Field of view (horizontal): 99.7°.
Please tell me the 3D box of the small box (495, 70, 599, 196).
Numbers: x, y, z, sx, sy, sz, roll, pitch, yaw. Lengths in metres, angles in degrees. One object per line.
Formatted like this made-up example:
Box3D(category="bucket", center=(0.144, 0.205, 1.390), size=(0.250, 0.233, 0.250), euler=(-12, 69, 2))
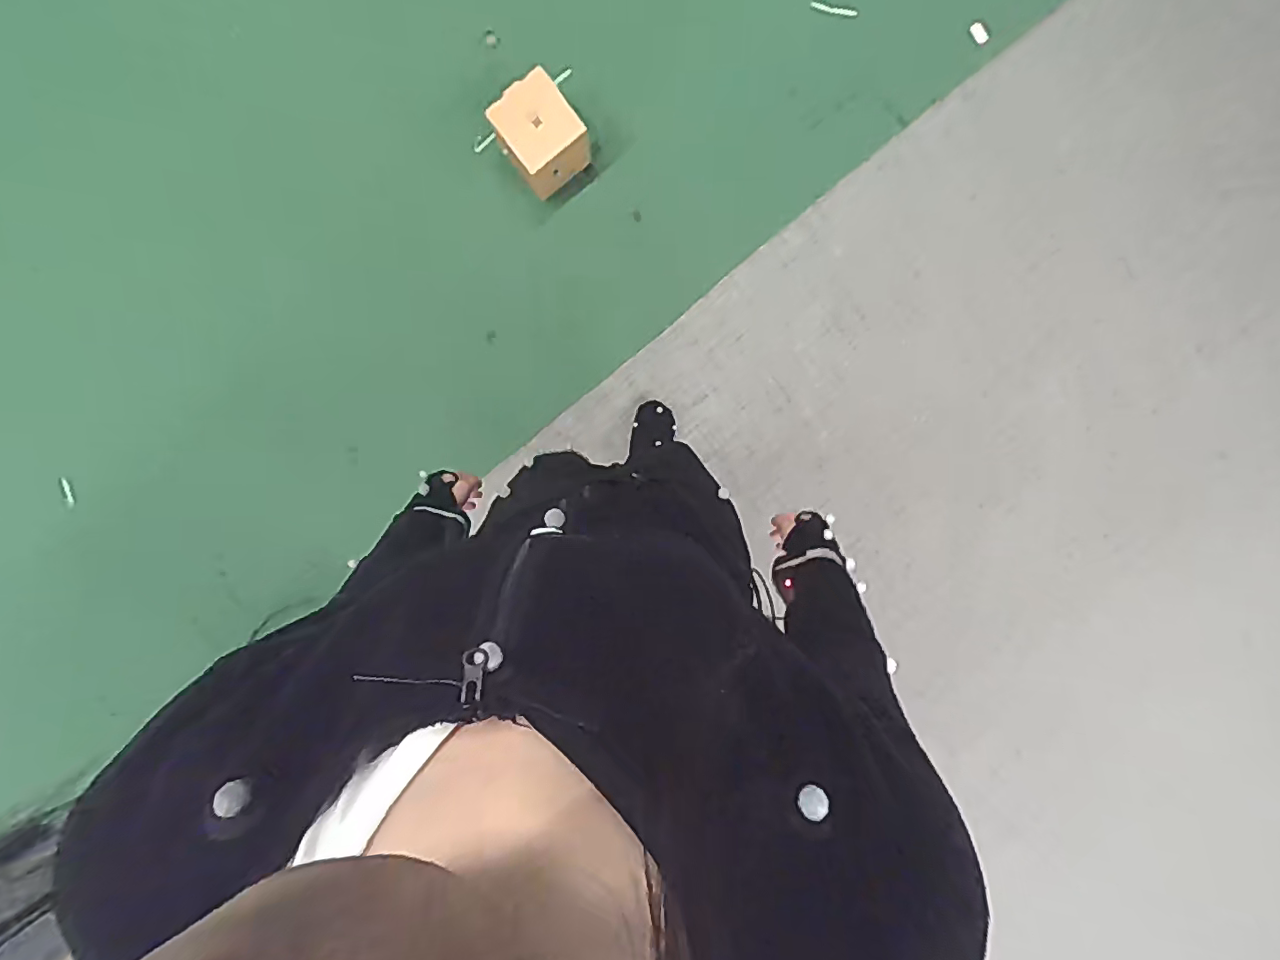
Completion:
Box3D(category="small box", center=(-0.217, -0.829, 1.321), size=(0.168, 0.176, 0.179), euler=(-38, 94, 6))
